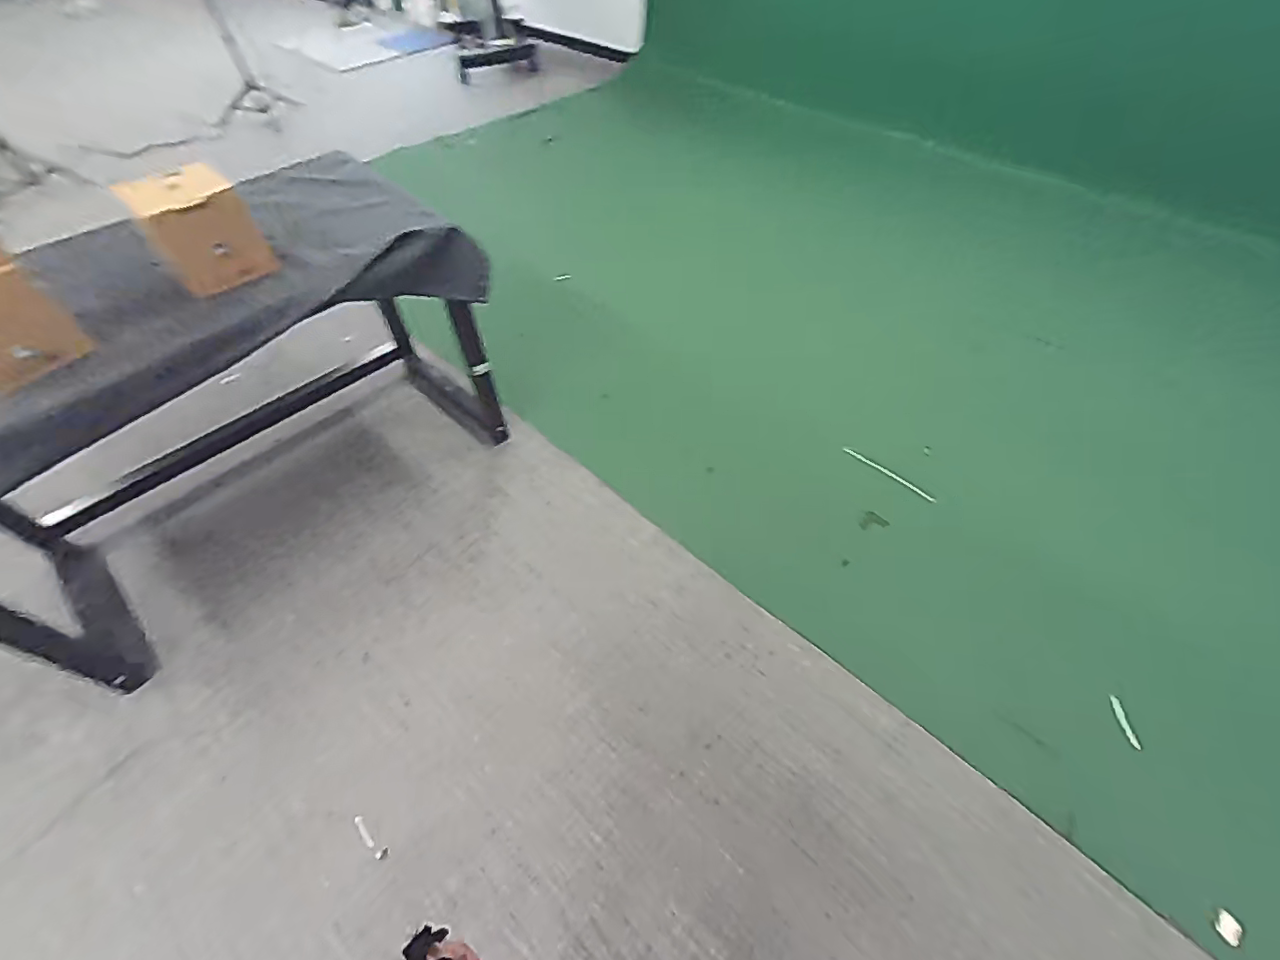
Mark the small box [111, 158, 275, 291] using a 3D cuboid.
[{"bbox_3d":[-0.880,-0.505,1.081,0.179,0.176,0.168,37,61,25],"label":"small box"}]

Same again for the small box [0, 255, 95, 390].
[{"bbox_3d":[-1.097,-0.279,0.905,0.179,0.176,0.168,28,57,19],"label":"small box"}]
